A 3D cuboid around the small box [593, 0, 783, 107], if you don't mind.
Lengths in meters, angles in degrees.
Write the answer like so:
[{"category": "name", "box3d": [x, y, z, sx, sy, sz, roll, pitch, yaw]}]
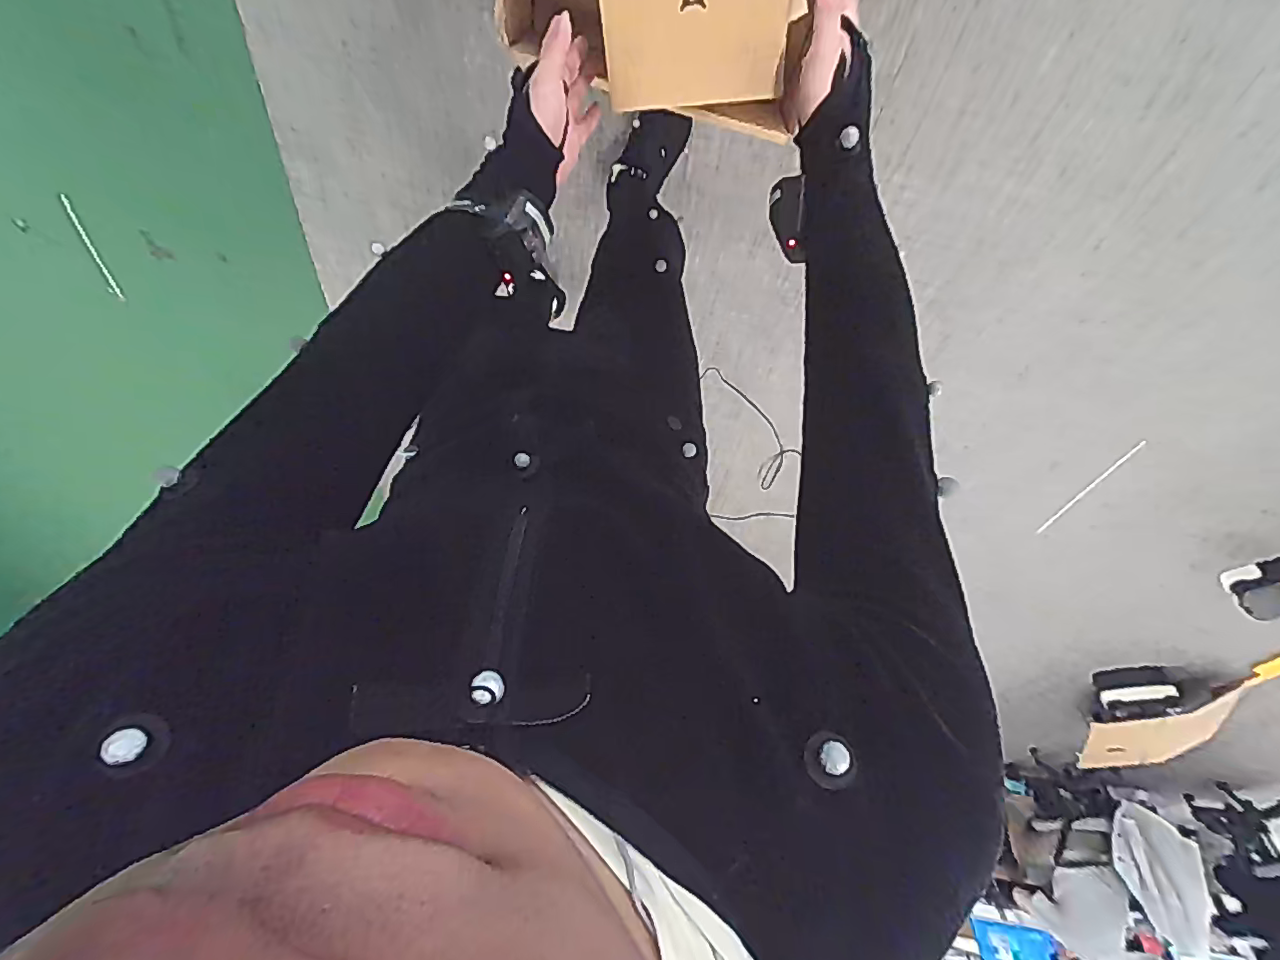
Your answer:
[{"category": "small box", "box3d": [0.048, -0.477, 0.501, 0.168, 0.176, 0.179, 0, 138, 8]}]
